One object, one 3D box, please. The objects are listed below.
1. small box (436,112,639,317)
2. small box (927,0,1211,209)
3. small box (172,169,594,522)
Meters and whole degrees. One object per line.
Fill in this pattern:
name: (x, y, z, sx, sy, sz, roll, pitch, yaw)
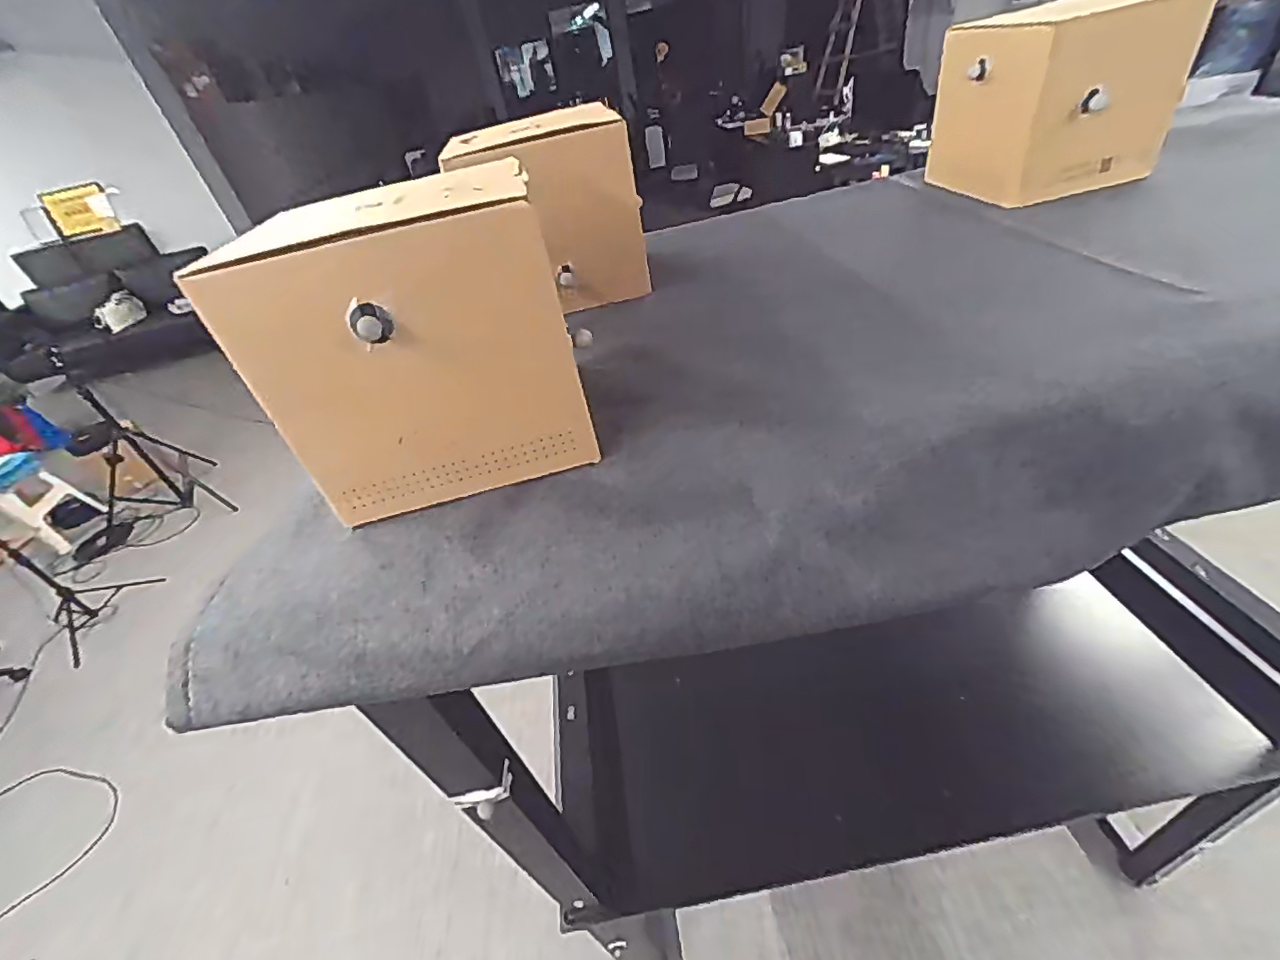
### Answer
small box: (-0.102, -0.286, 0.600, 0.179, 0.176, 0.168, -14, 39, -3)
small box: (0.458, -0.424, 0.614, 0.168, 0.176, 0.179, -14, 39, -1)
small box: (-0.142, -0.094, 0.372, 0.179, 0.176, 0.168, -15, 38, -4)
